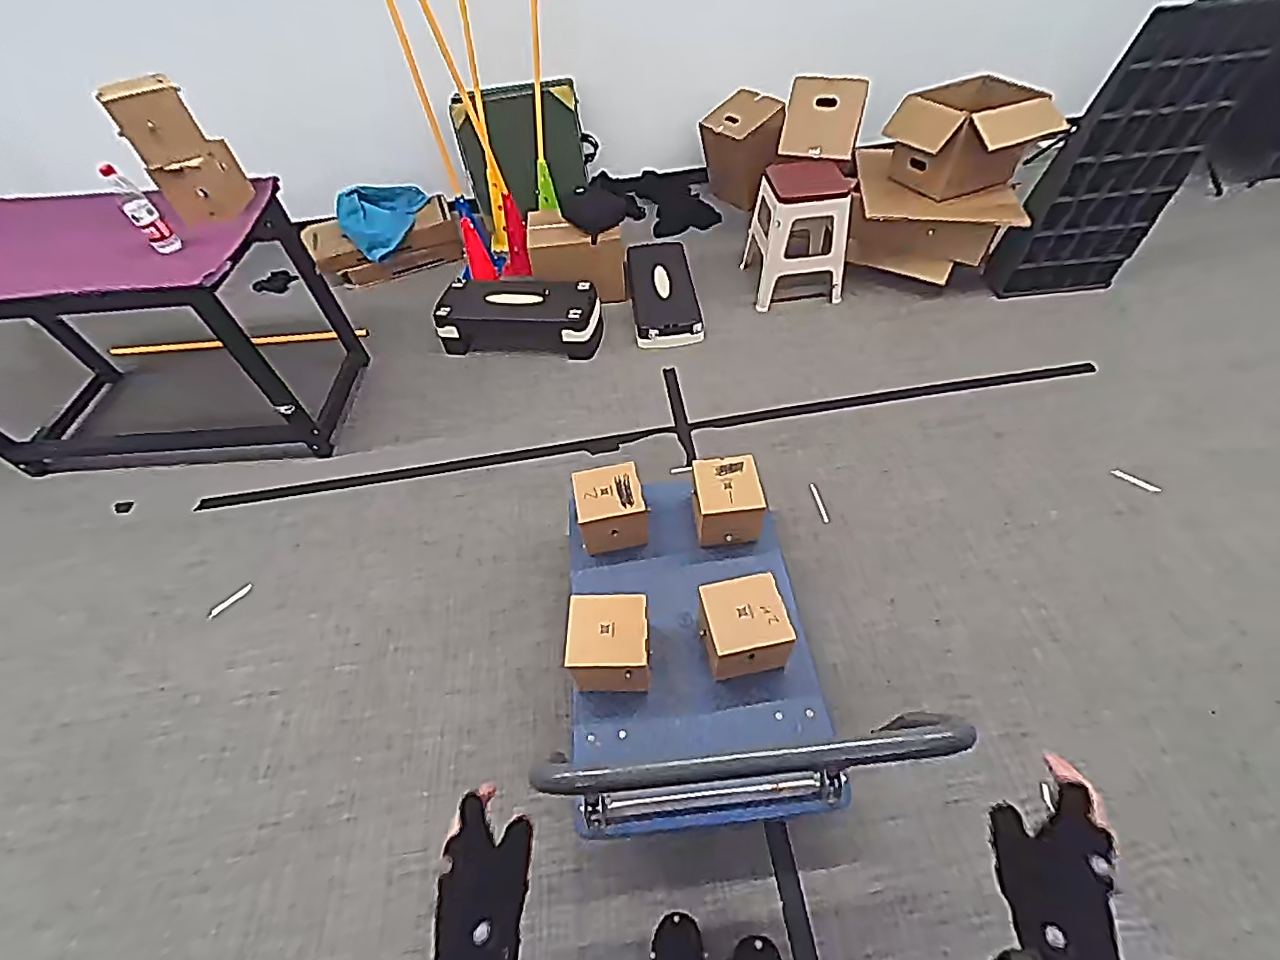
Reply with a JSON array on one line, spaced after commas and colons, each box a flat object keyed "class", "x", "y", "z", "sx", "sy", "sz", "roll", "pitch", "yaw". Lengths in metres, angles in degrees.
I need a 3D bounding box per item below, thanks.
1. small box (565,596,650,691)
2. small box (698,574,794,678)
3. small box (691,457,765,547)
[{"class": "small box", "x": -0.068, "y": 0.381, "z": 1.251, "sx": 0.179, "sy": 0.176, "sz": 0.168, "roll": -1, "pitch": 52, "yaw": 2}, {"class": "small box", "x": 0.237, "y": 0.344, "z": 1.256, "sx": 0.179, "sy": 0.176, "sz": 0.168, "roll": -11, "pitch": 53, "yaw": -4}, {"class": "small box", "x": 0.231, "y": 0.062, "z": 1.472, "sx": 0.168, "sy": 0.176, "sz": 0.179, "roll": -6, "pitch": 54, "yaw": 0}]
